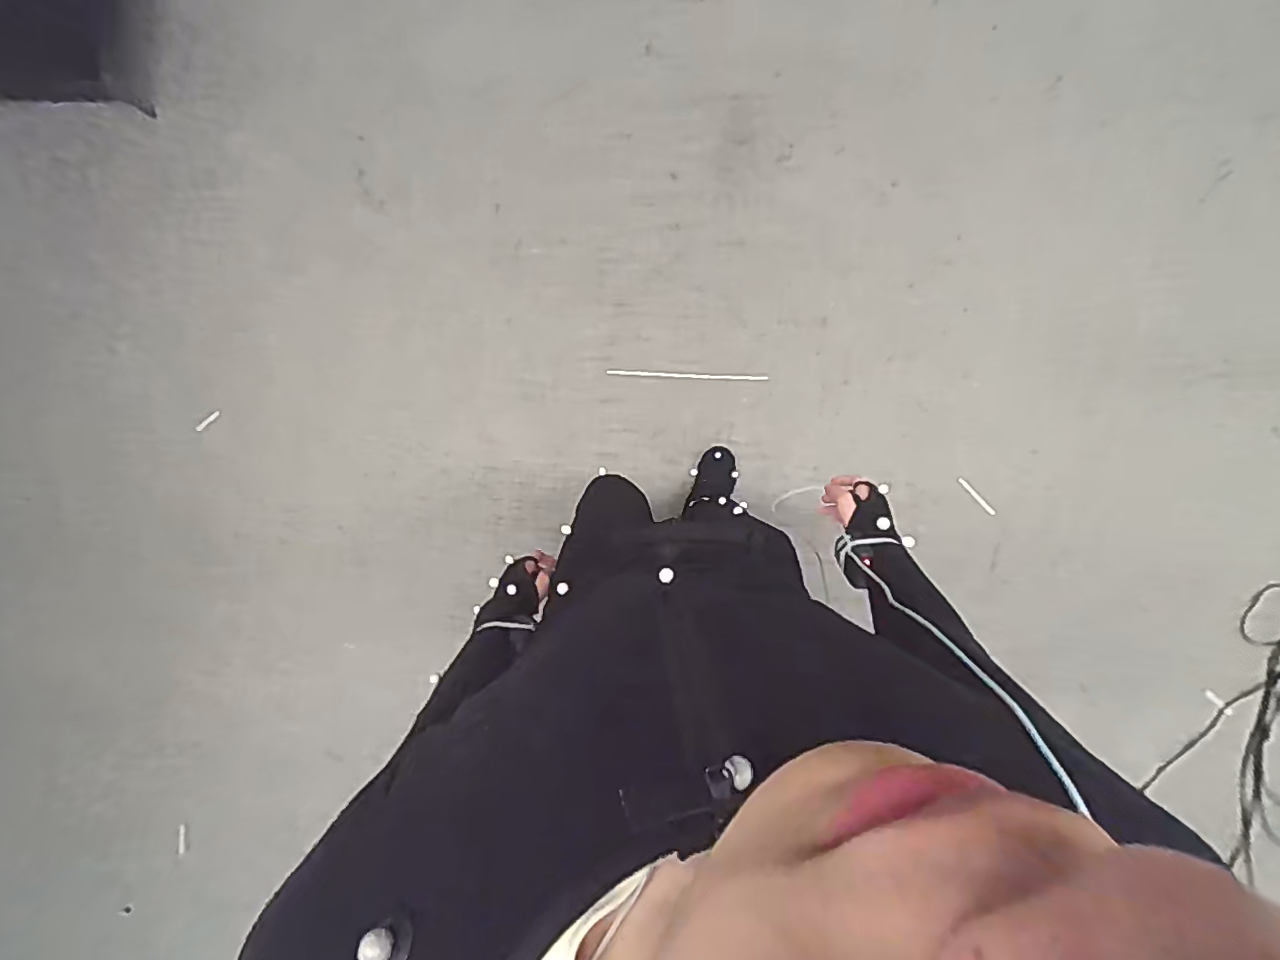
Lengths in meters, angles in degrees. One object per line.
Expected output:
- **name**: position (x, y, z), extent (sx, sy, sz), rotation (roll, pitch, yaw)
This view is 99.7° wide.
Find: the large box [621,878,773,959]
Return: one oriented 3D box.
- **large box**: position (0.160, 1.396, 1.524), extent (0.408, 0.320, 0.320), rotation (2, 91, 6)
